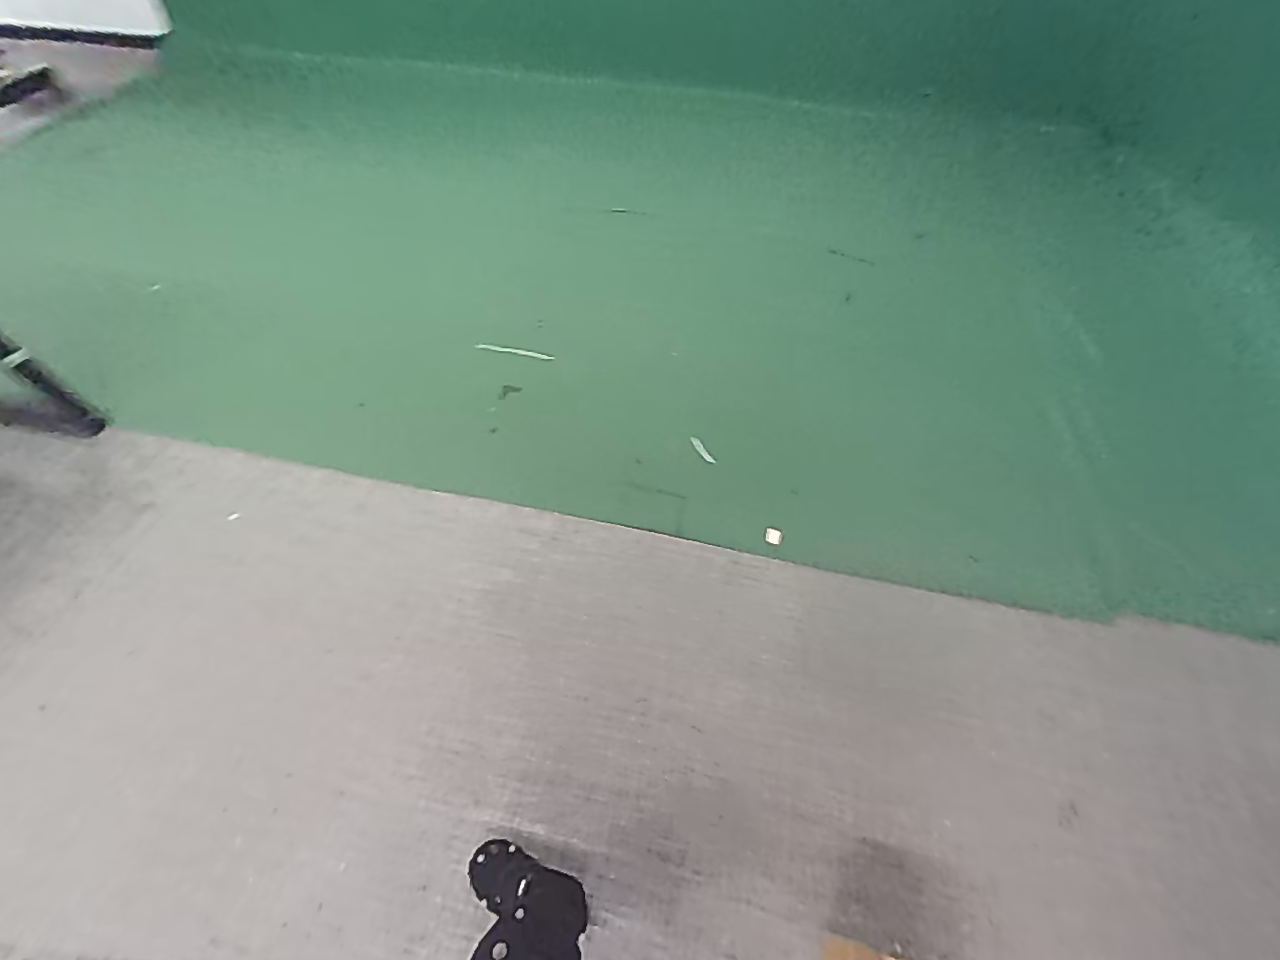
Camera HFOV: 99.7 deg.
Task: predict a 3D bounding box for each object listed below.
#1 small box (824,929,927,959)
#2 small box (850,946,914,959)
[{"bbox_3d":[0.425,0.931,0.954,0.168,0.176,0.179,12,57,10],"label":"small box"},{"bbox_3d":[0.431,0.839,0.820,0.179,0.176,0.168,10,54,10],"label":"small box"}]
